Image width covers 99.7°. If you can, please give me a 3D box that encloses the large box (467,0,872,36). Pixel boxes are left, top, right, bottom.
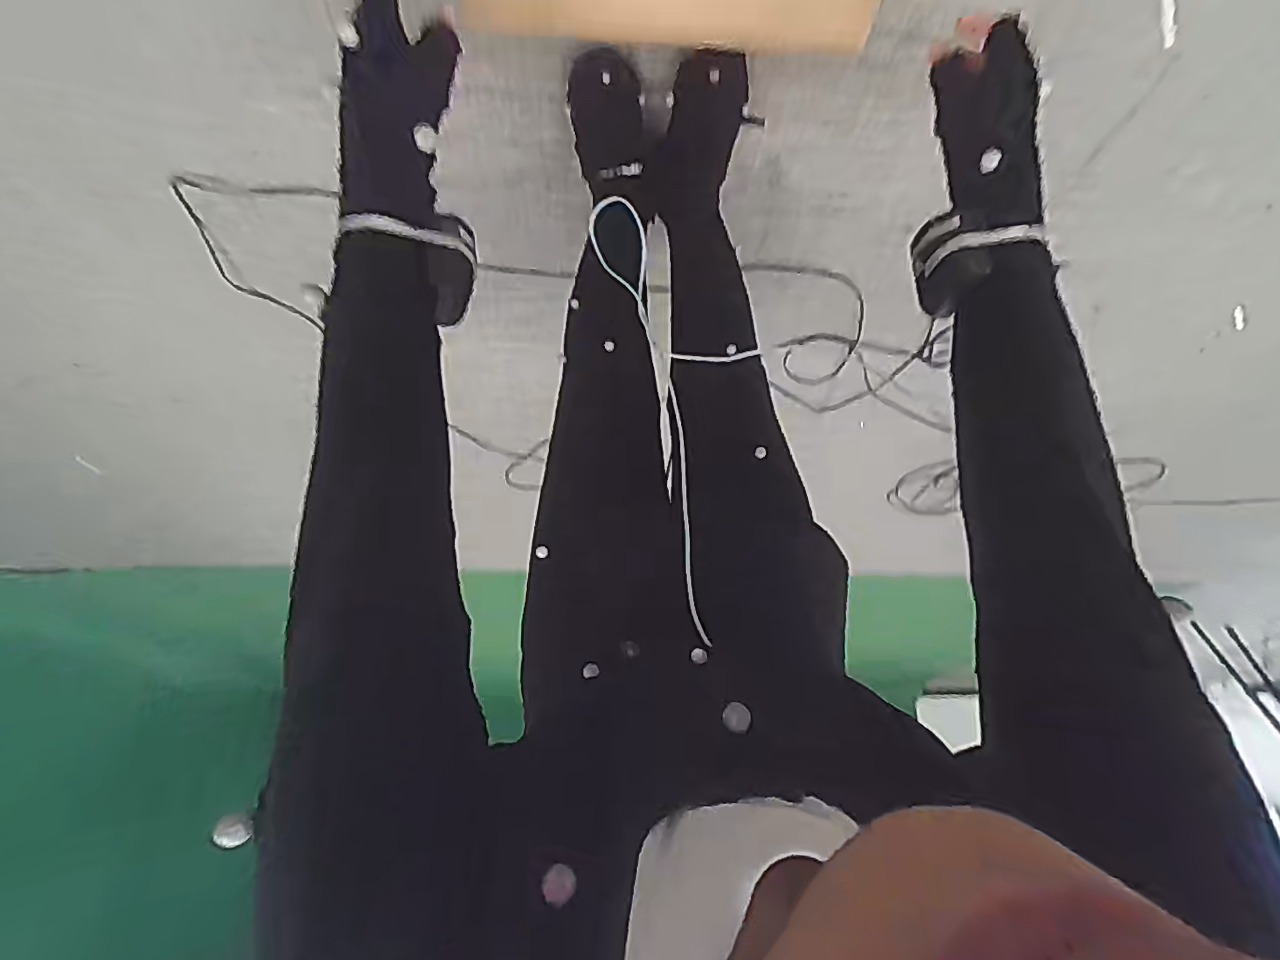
[{"bbox_3d":[0.031,-0.662,0.493,0.408,0.320,0.320,1,149,-3],"label":"large box"}]
